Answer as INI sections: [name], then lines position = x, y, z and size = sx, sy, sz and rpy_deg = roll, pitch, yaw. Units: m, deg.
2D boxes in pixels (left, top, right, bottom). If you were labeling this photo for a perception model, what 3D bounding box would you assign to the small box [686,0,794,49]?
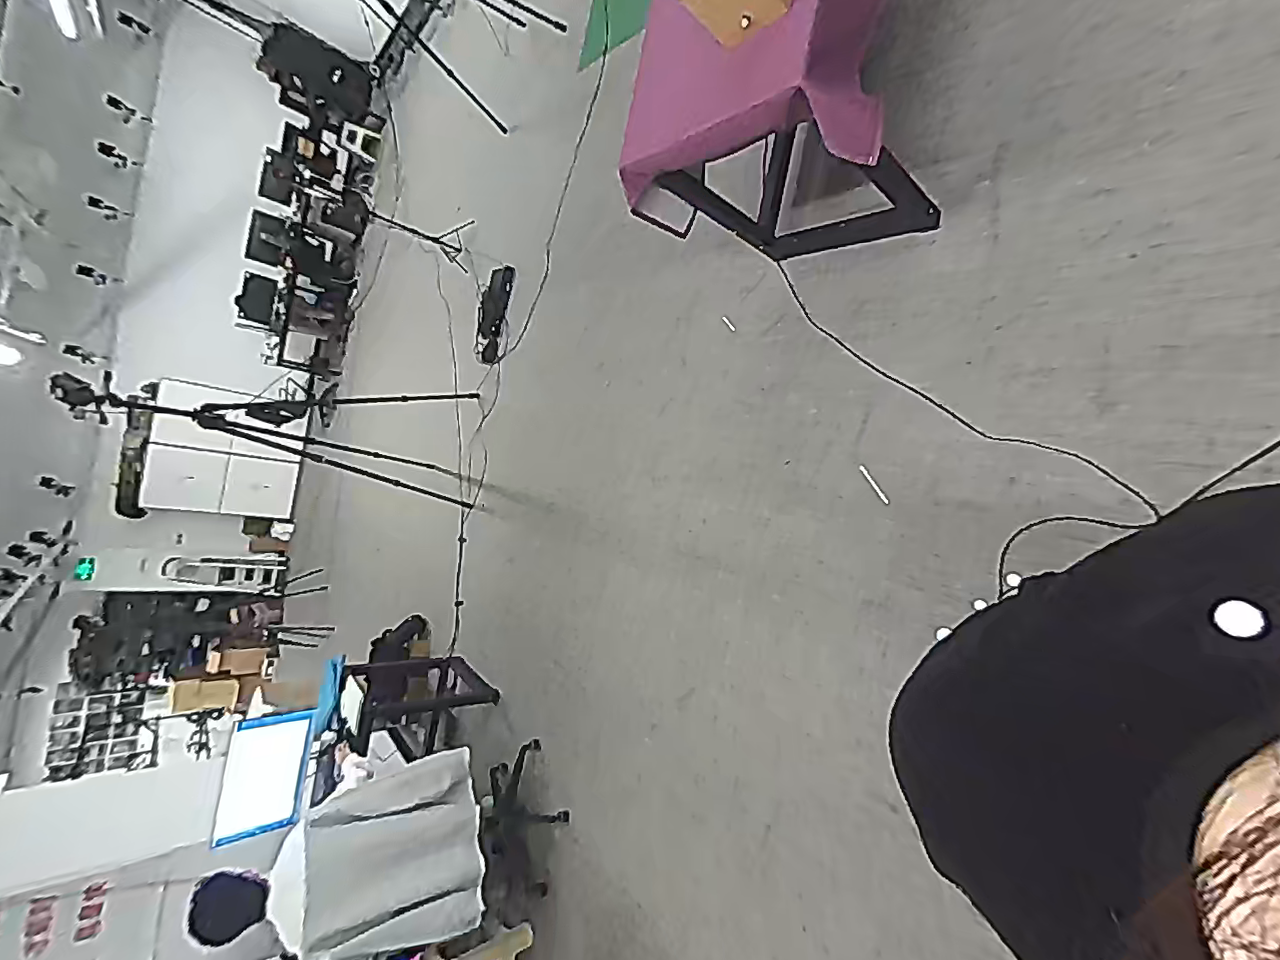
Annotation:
[small box]
position = 0.229, -1.076, 1.144
size = 0.179, 0.176, 0.168
rpy_deg = 13, 92, 50
